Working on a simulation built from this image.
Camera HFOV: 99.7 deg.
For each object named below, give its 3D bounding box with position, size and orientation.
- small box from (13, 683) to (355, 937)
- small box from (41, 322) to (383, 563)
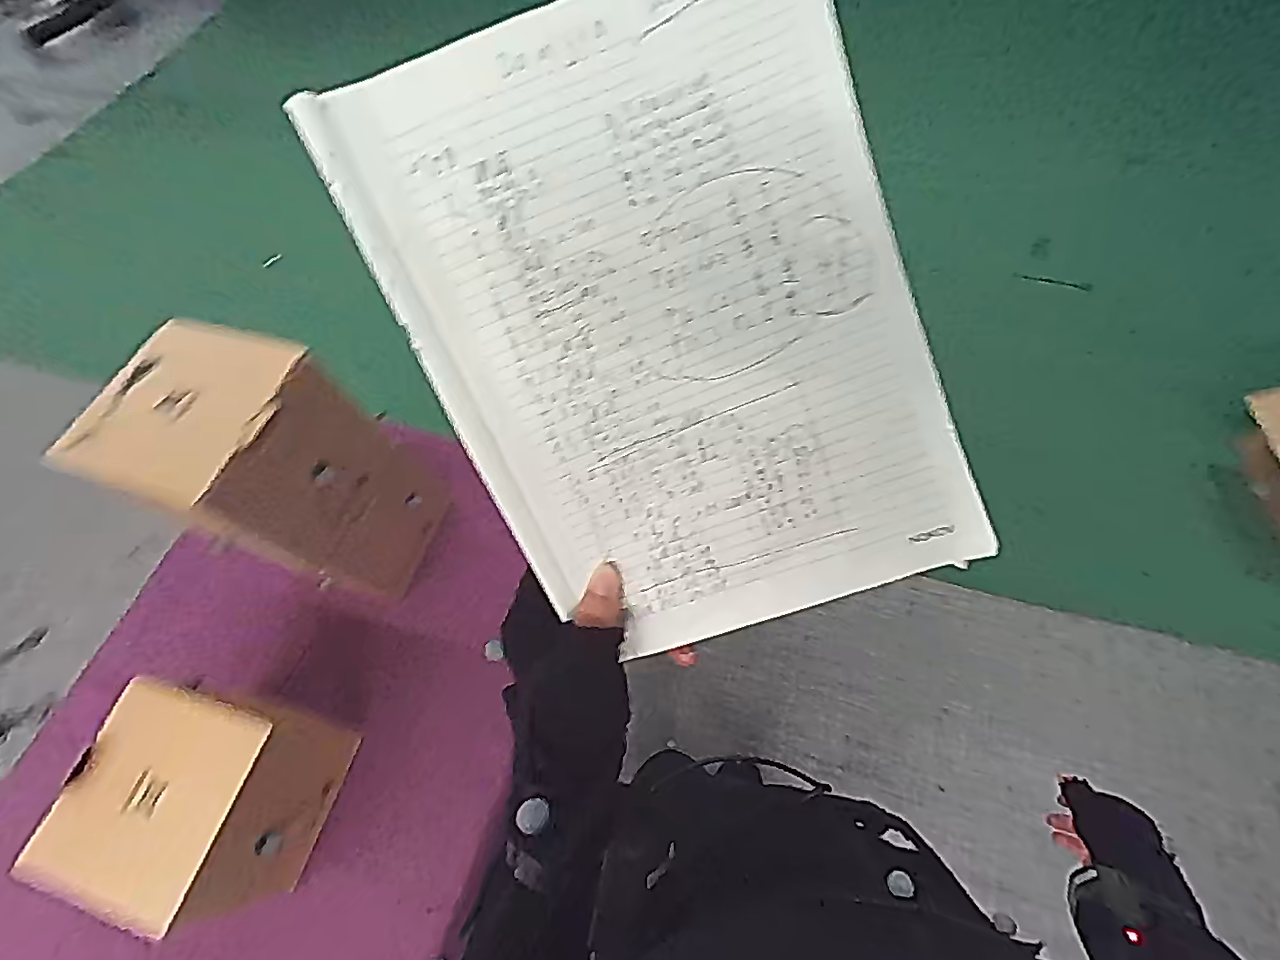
[{"bbox_3d":[-0.444,0.325,0.564,0.179,0.176,0.168,11,65,12],"label":"small box"},{"bbox_3d":[-0.406,-0.029,0.554,0.179,0.176,0.168,14,64,12],"label":"small box"}]
